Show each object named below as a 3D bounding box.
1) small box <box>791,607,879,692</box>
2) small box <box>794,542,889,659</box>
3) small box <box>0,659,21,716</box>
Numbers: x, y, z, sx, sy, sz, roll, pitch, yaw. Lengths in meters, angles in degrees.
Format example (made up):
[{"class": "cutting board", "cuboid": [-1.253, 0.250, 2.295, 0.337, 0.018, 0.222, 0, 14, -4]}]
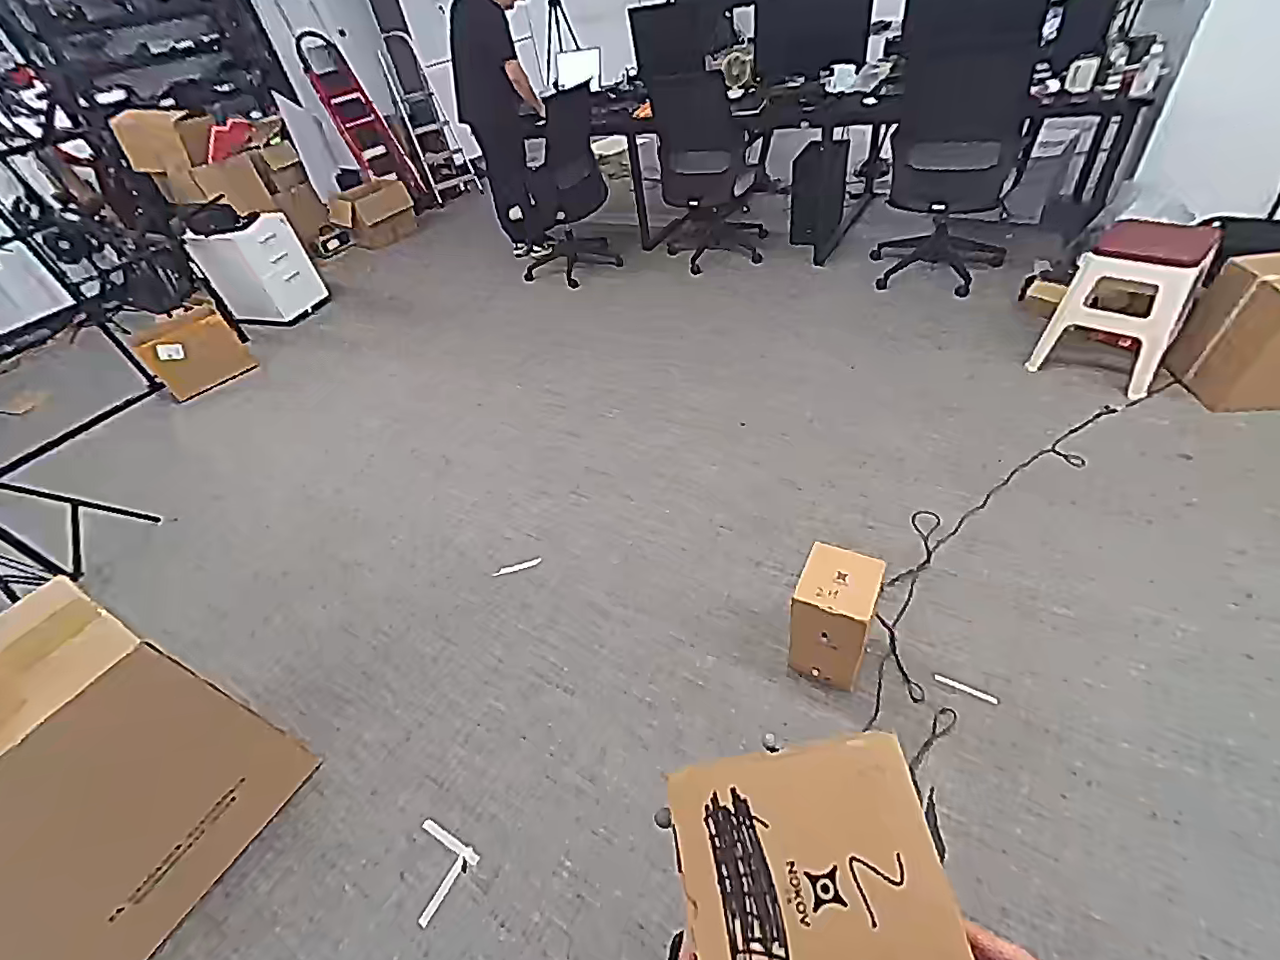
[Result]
[{"class": "small box", "cuboid": [0.491, 0.400, 1.379, 0.168, 0.176, 0.179, 17, 51, 28]}, {"class": "small box", "cuboid": [0.466, 0.282, 1.267, 0.168, 0.176, 0.179, 15, 50, 27]}, {"class": "small box", "cuboid": [-1.200, 0.354, 0.889, 0.179, 0.176, 0.168, 18, 51, 29]}]
